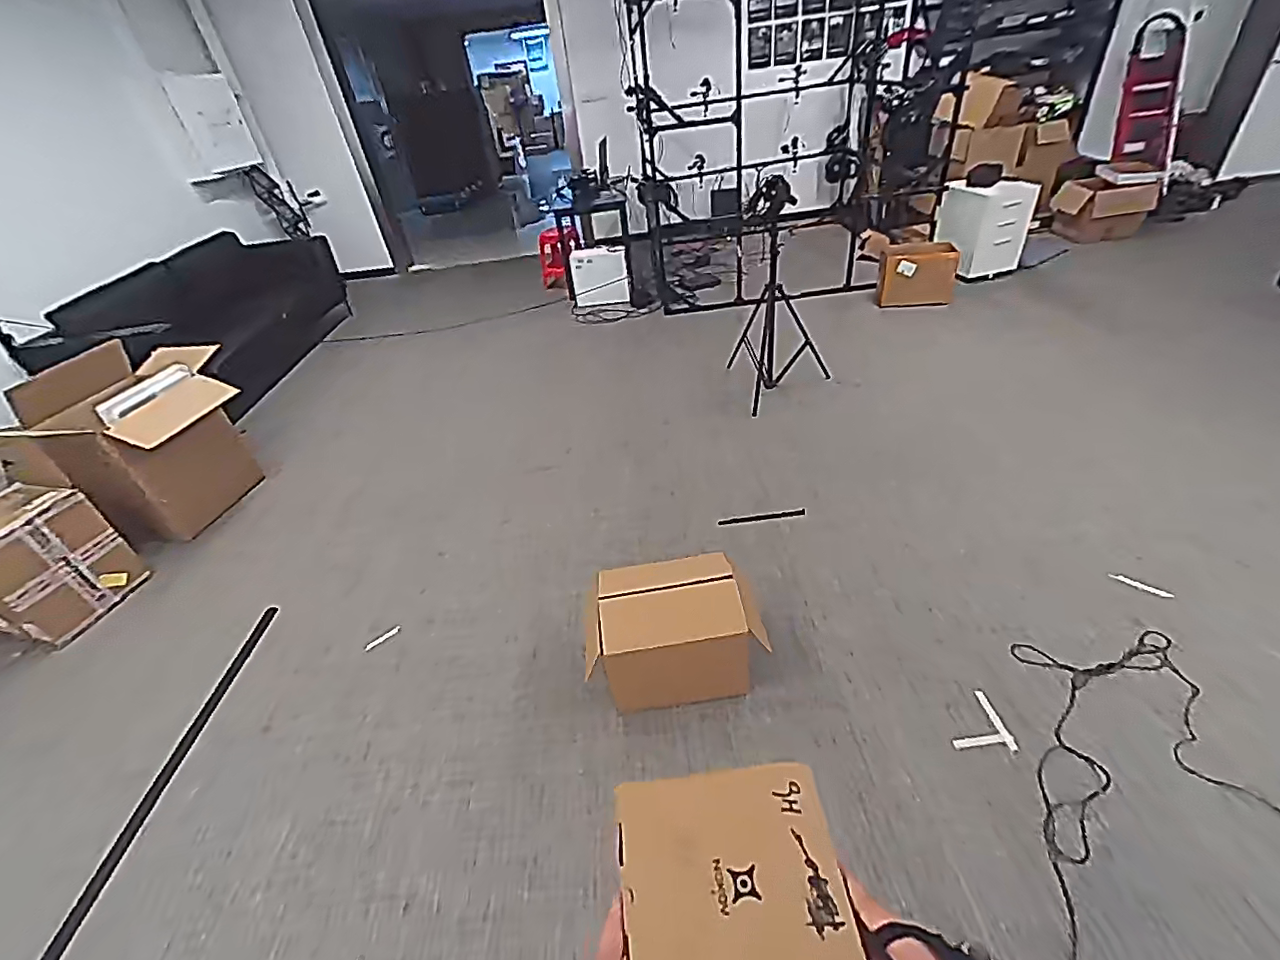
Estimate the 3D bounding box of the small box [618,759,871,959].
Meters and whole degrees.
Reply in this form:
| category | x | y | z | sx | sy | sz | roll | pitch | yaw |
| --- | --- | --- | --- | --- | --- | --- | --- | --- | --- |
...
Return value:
| category | x | y | z | sx | sy | sz | roll | pitch | yaw |
| --- | --- | --- | --- | --- | --- | --- | --- | --- | --- |
| small box | 0.077 | 0.369 | 0.477 | 0.179 | 0.176 | 0.168 | -5 | 44 | -3 |
